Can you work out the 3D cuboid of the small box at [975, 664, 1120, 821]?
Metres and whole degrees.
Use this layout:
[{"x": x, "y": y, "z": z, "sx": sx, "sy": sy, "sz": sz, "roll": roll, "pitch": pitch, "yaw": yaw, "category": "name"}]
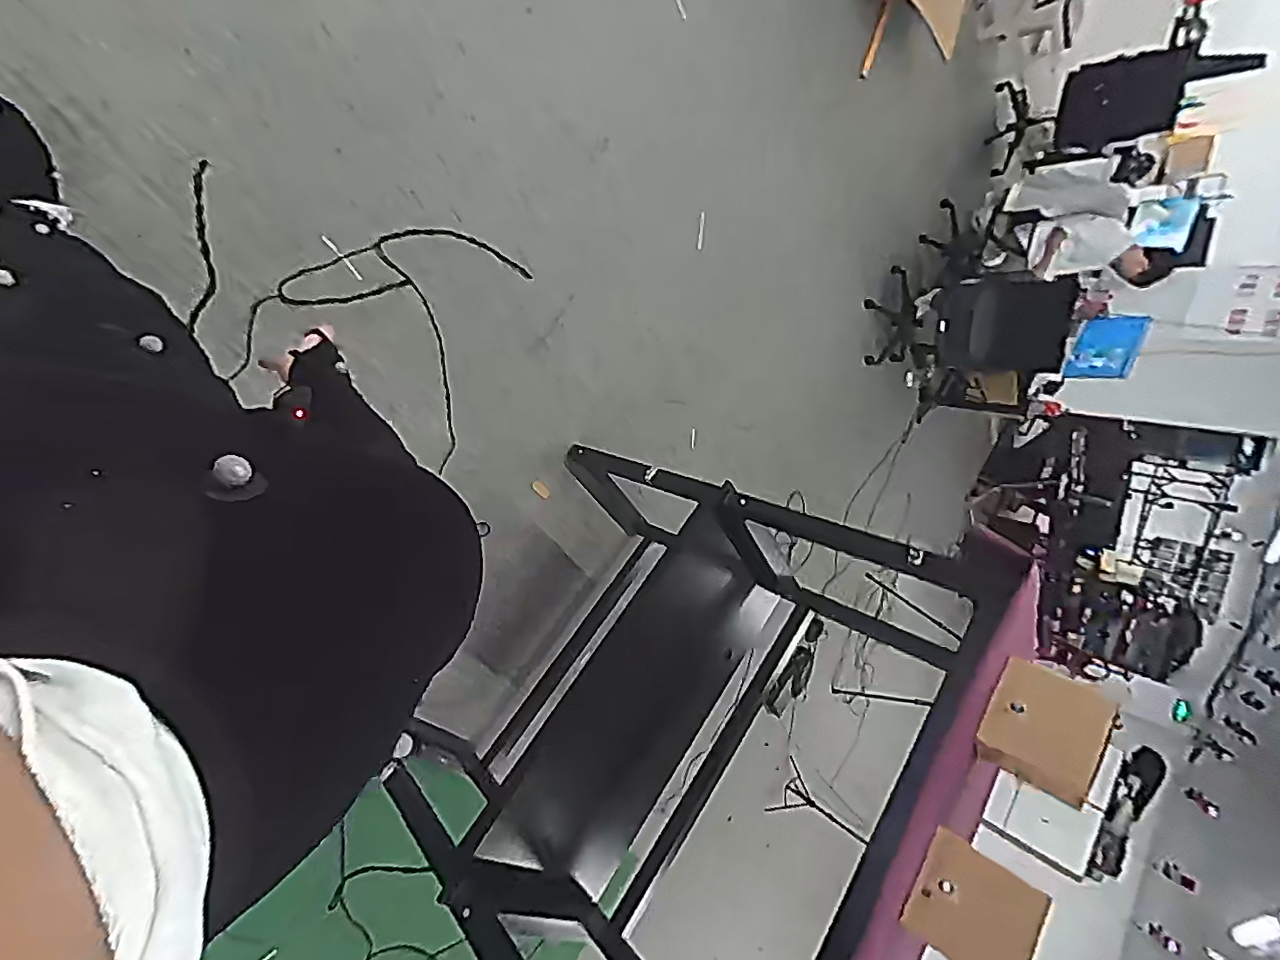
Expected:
[{"x": 0.731, "y": 0.472, "z": 0.985, "sx": 0.179, "sy": 0.176, "sz": 0.168, "roll": -54, "pitch": 135, "yaw": -16, "category": "small box"}]
